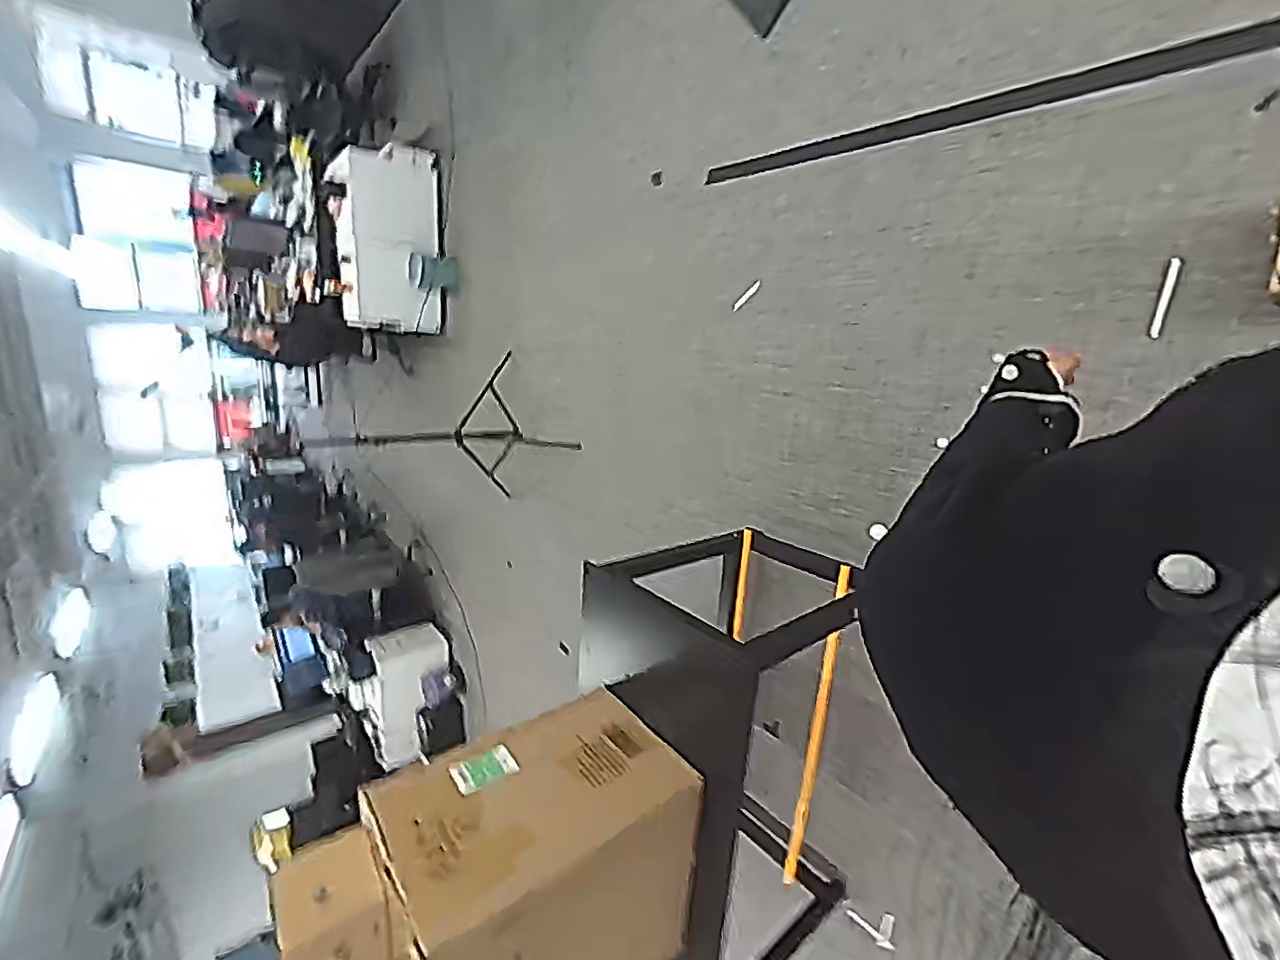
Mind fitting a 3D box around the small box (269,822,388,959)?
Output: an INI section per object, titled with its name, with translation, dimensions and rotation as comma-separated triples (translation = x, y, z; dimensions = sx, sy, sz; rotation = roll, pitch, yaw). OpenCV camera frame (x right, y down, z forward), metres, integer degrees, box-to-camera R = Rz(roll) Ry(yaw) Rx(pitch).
[small box]
translation = -0.585, 0.803, 1.025
dimensions = 0.179, 0.176, 0.168
rotation = 27, 117, 48
